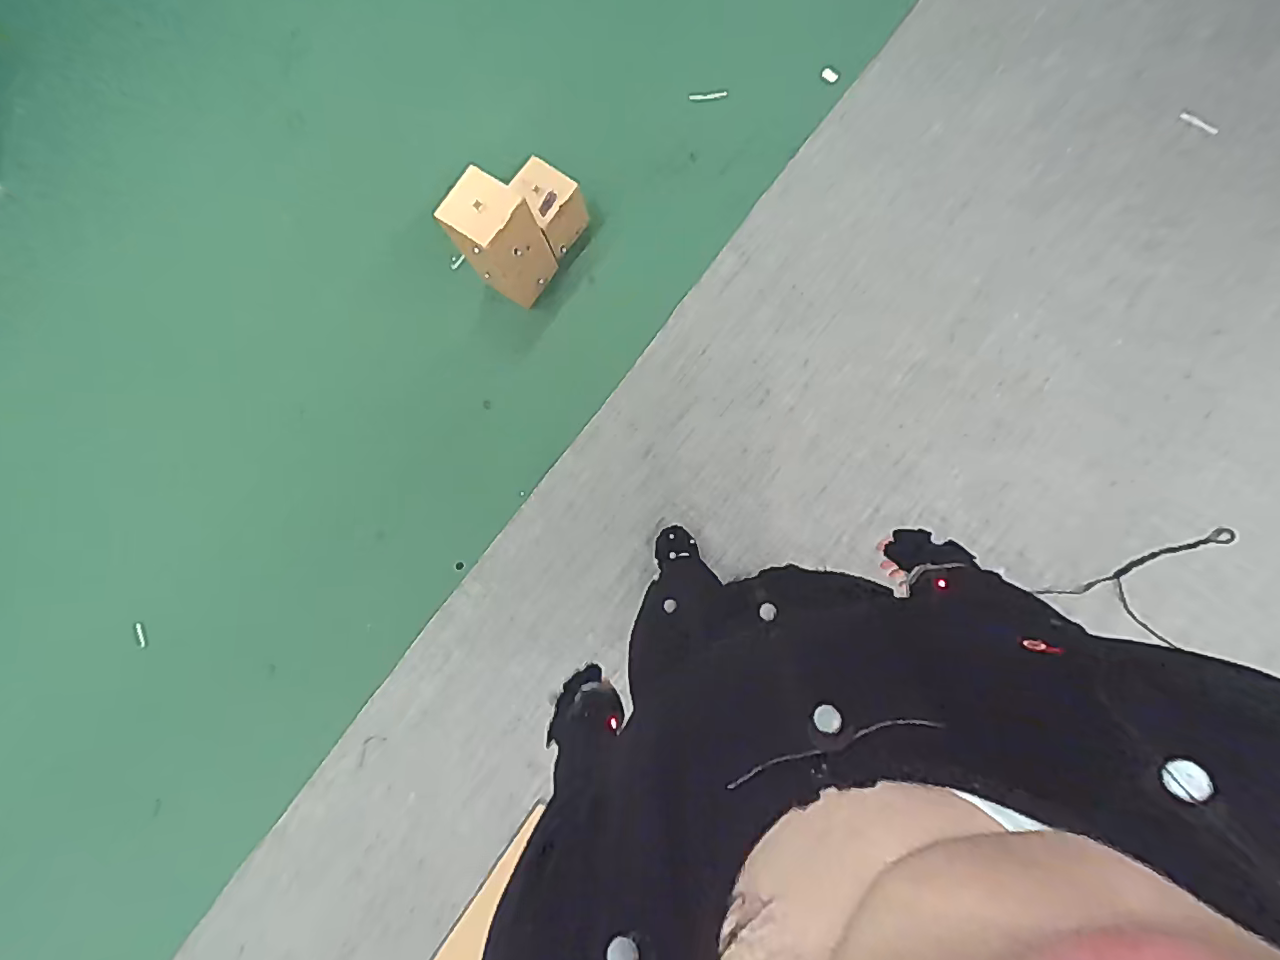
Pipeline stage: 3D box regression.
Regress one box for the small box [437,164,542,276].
[{"bbox_3d":[-0.389,-0.675,1.425,0.179,0.176,0.168,34,86,9],"label":"small box"}]
